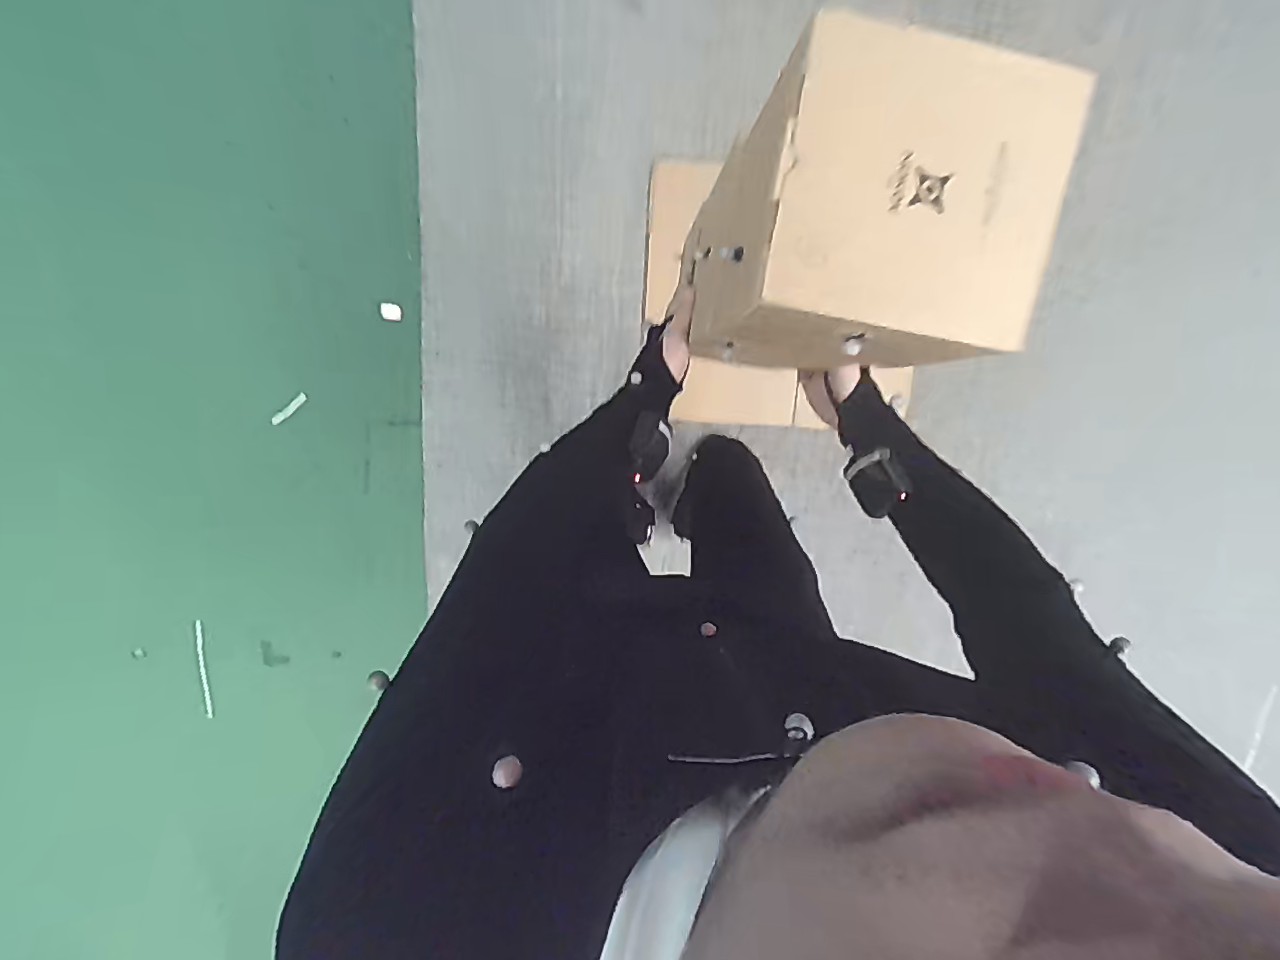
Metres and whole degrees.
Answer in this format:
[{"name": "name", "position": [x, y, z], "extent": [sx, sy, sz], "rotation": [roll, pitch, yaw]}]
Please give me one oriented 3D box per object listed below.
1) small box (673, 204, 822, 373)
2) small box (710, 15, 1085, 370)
[{"name": "small box", "position": [0.146, -0.240, 0.723], "extent": [0.179, 0.176, 0.168], "rotation": [8, 97, -4]}, {"name": "small box", "position": [0.159, -0.181, 0.401], "extent": [0.179, 0.176, 0.168], "rotation": [11, 97, -4]}]
